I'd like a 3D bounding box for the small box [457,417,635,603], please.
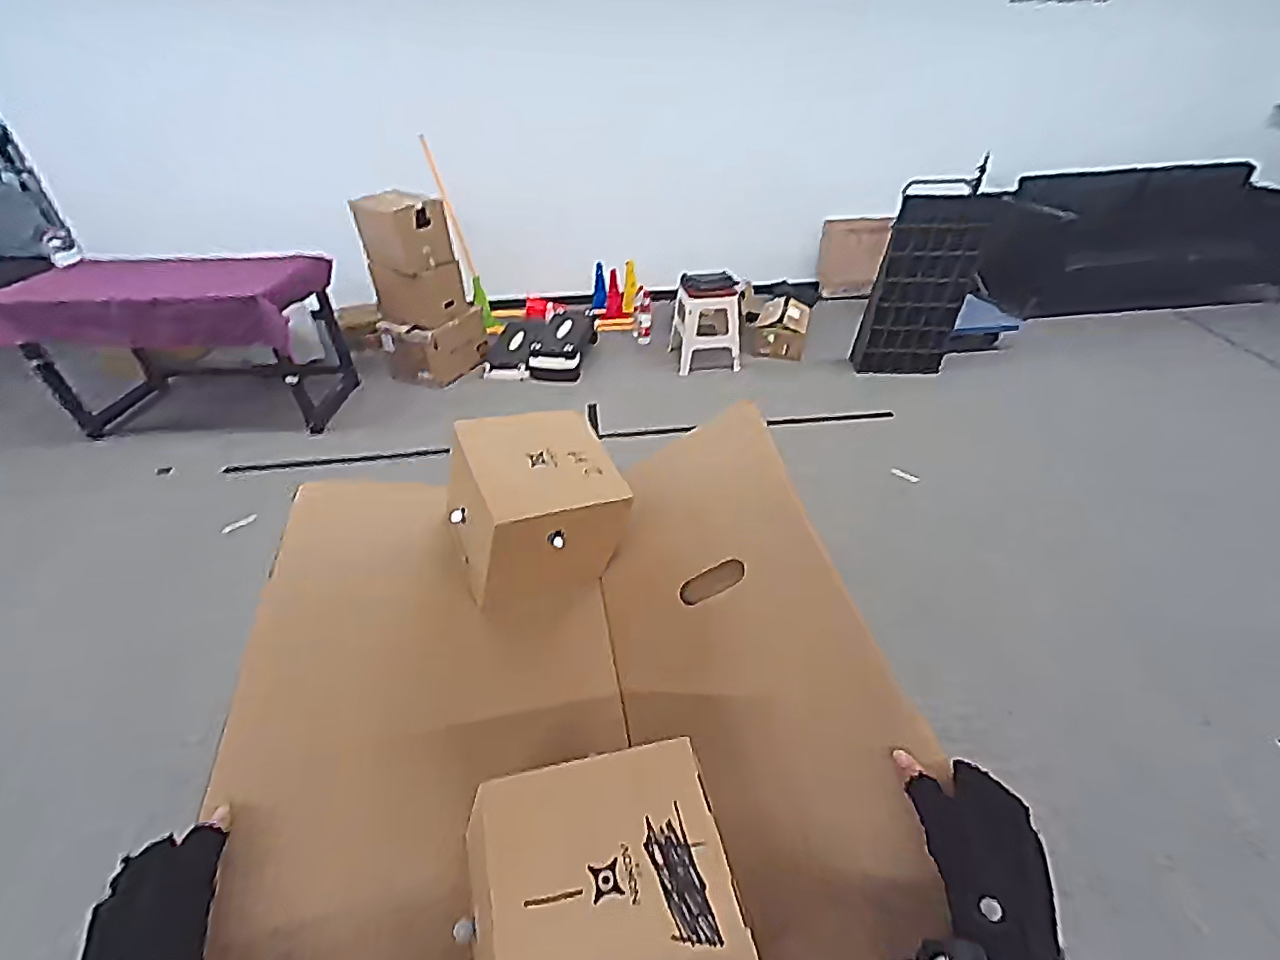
[{"bbox_3d":[-0.135,0.038,0.708,0.179,0.176,0.168,-9,51,-31],"label":"small box"}]
